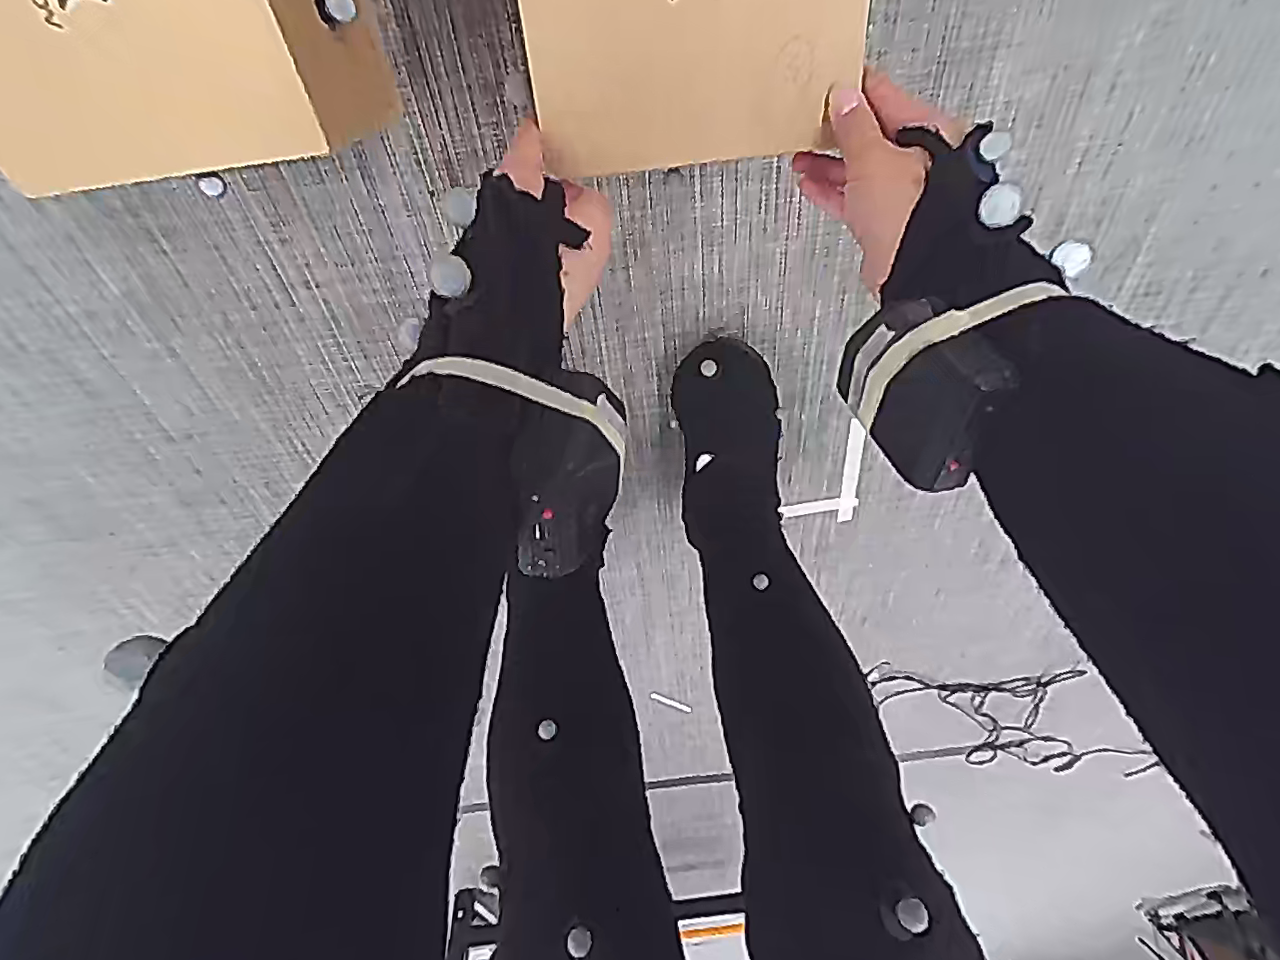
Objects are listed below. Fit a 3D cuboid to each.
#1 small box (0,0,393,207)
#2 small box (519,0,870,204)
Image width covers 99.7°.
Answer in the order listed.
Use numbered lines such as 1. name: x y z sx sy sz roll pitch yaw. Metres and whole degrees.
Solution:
1. small box: -0.262 -0.274 0.305 0.179 0.176 0.168 -8 131 1
2. small box: 0.021 -0.271 0.314 0.168 0.176 0.179 -7 120 -1
